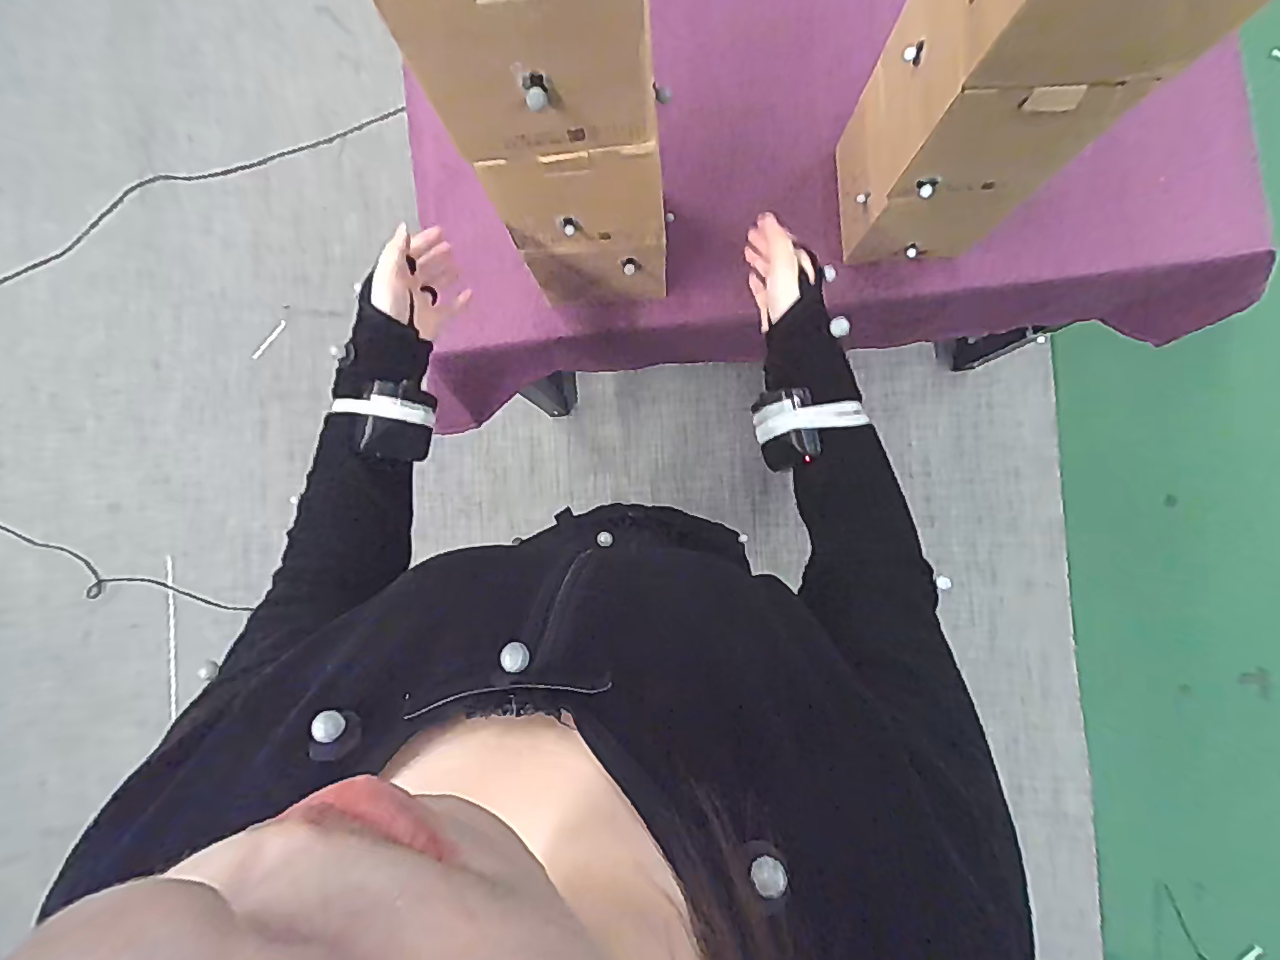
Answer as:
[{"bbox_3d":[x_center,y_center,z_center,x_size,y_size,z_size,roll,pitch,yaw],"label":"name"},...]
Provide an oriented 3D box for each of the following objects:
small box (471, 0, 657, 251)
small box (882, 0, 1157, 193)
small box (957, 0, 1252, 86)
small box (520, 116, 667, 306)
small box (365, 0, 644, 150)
[{"bbox_3d":[-0.068,-0.364,0.562,0.168,0.176,0.179,-3,88,3],"label":"small box"},{"bbox_3d":[0.354,-0.408,0.536,0.168,0.176,0.179,-1,86,4],"label":"small box"},{"bbox_3d":[0.346,-0.409,0.372,0.179,0.176,0.168,1,89,3],"label":"small box"},{"bbox_3d":[-0.055,-0.346,0.723,0.179,0.176,0.168,-3,86,4],"label":"small box"},{"bbox_3d":[-0.087,-0.374,0.398,0.168,0.176,0.179,-5,88,2],"label":"small box"}]
